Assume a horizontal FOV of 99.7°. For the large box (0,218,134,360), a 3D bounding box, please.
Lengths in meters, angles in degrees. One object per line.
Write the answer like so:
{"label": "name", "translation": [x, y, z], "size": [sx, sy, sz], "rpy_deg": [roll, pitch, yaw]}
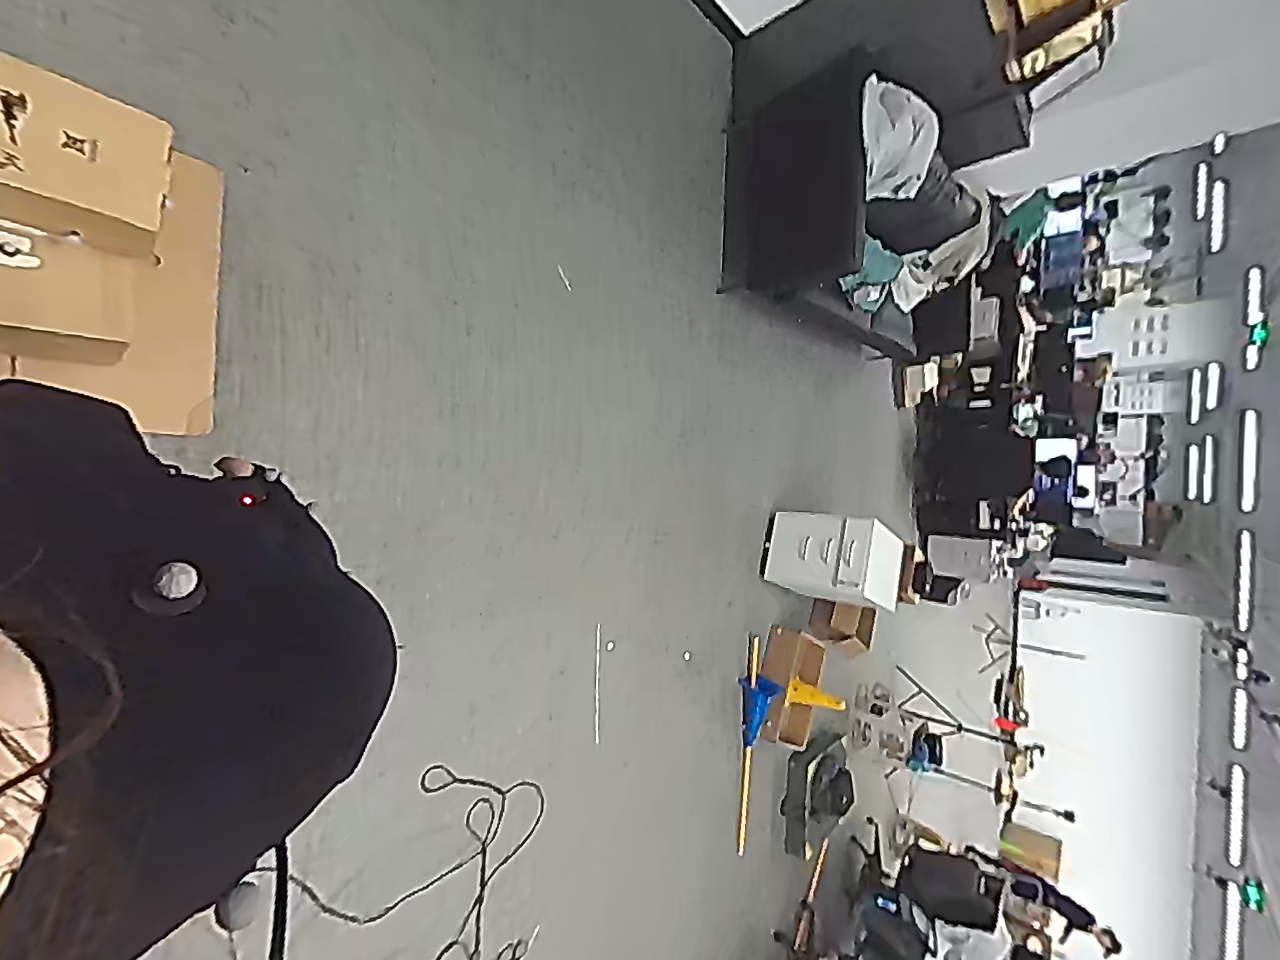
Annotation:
{"label": "large box", "translation": [-1.090, -0.387, 0.845], "size": [0.408, 0.320, 0.320], "rpy_deg": [0, 92, -50]}

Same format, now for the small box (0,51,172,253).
{"label": "small box", "translation": [-0.815, -0.450, 0.783], "size": [0.179, 0.176, 0.168], "rpy_deg": [8, 85, -48]}
